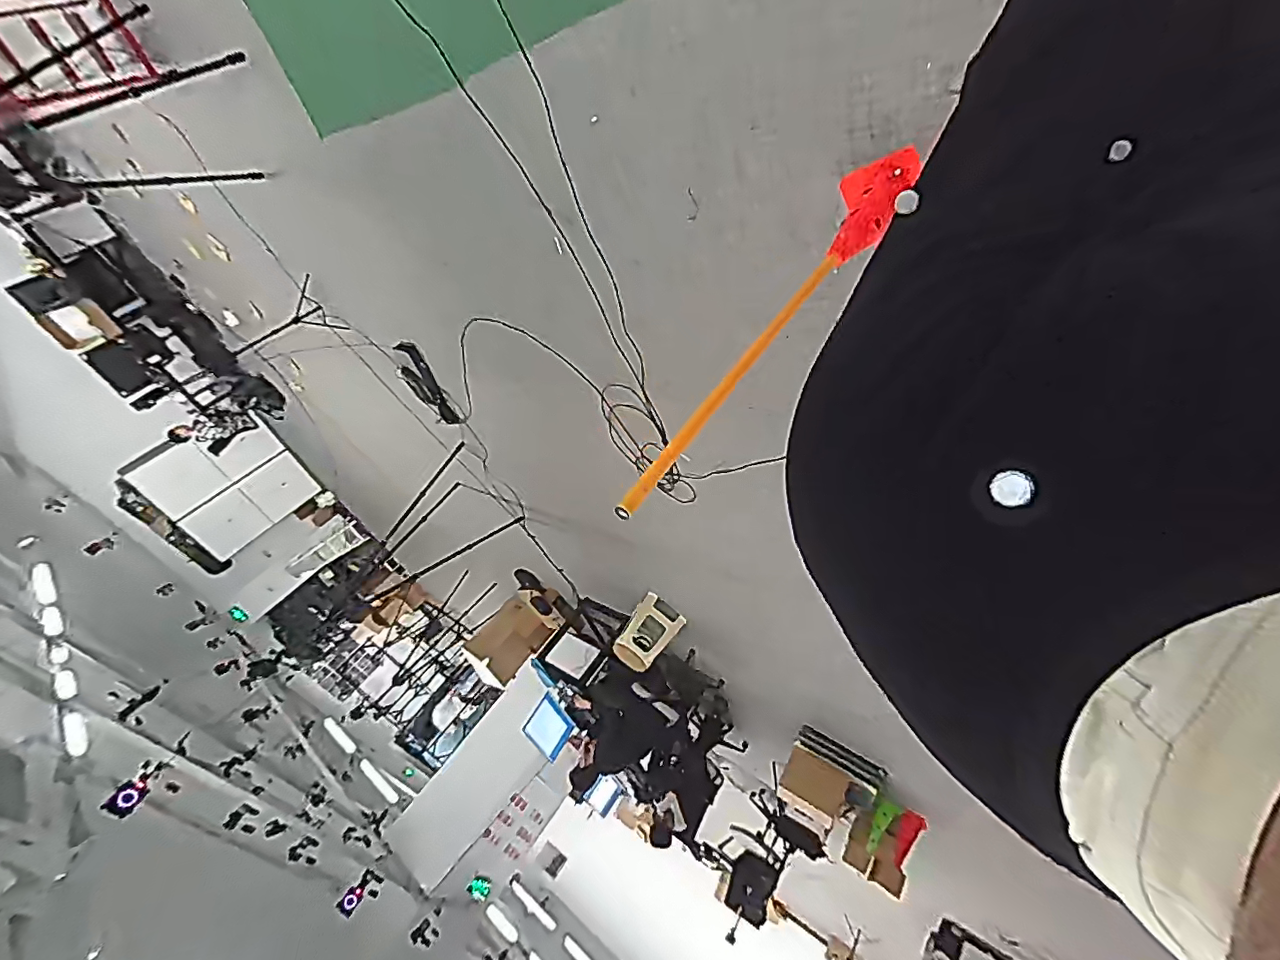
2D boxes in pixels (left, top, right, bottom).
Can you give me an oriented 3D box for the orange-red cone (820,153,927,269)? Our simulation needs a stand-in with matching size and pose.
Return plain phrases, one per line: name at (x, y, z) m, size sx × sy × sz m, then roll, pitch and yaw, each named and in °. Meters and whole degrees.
orange-red cone at (0.525, -0.606, 1.315) m, size 0.199 × 0.360 × 0.198 m, roll 1°, pitch 130°, yaw 49°
